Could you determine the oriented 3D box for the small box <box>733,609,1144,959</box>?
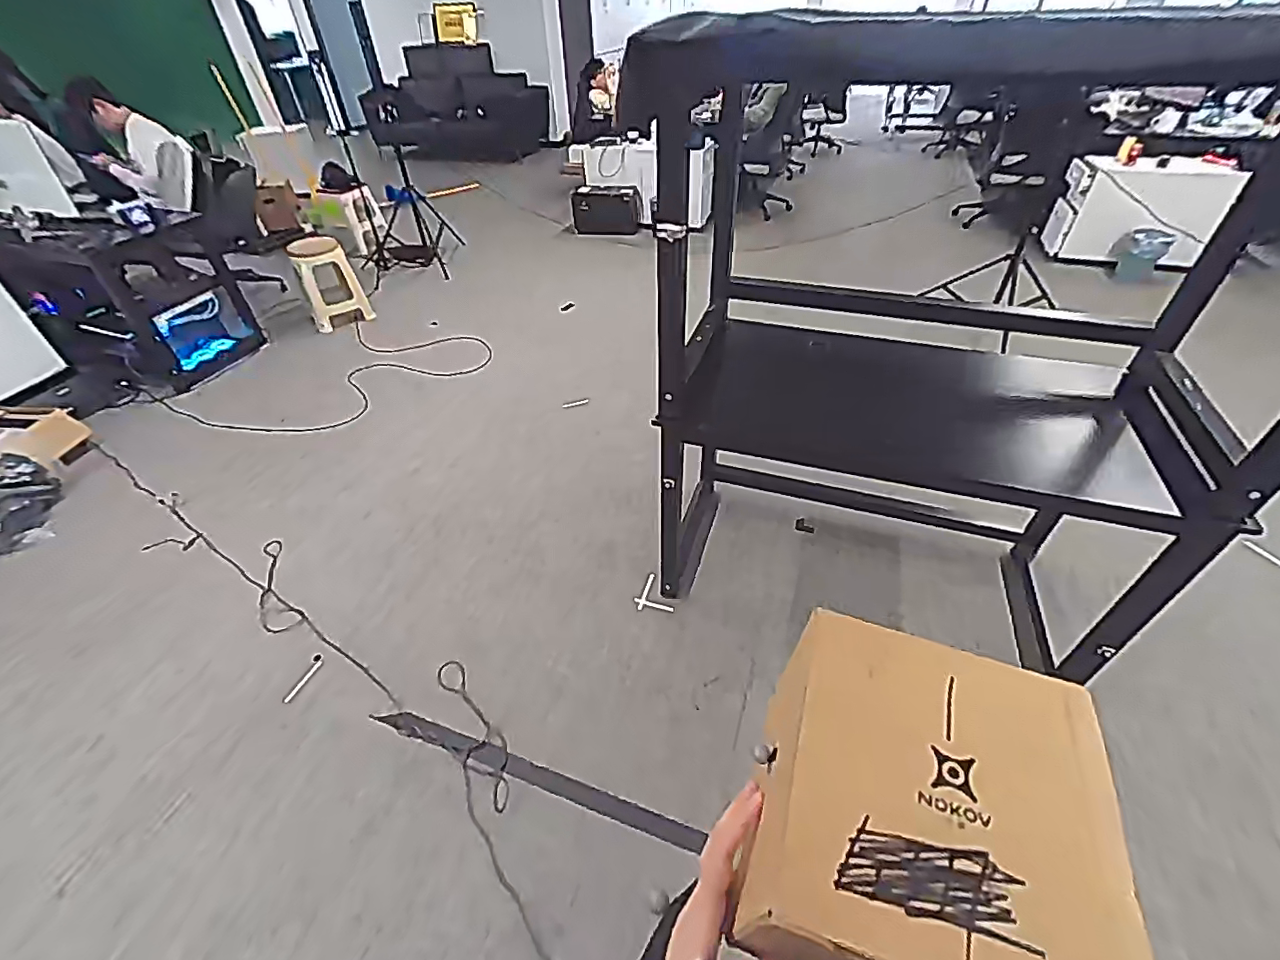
[{"bbox_3d":[0.162,0.220,0.346,0.168,0.176,0.179,15,47,13],"label":"small box"}]
